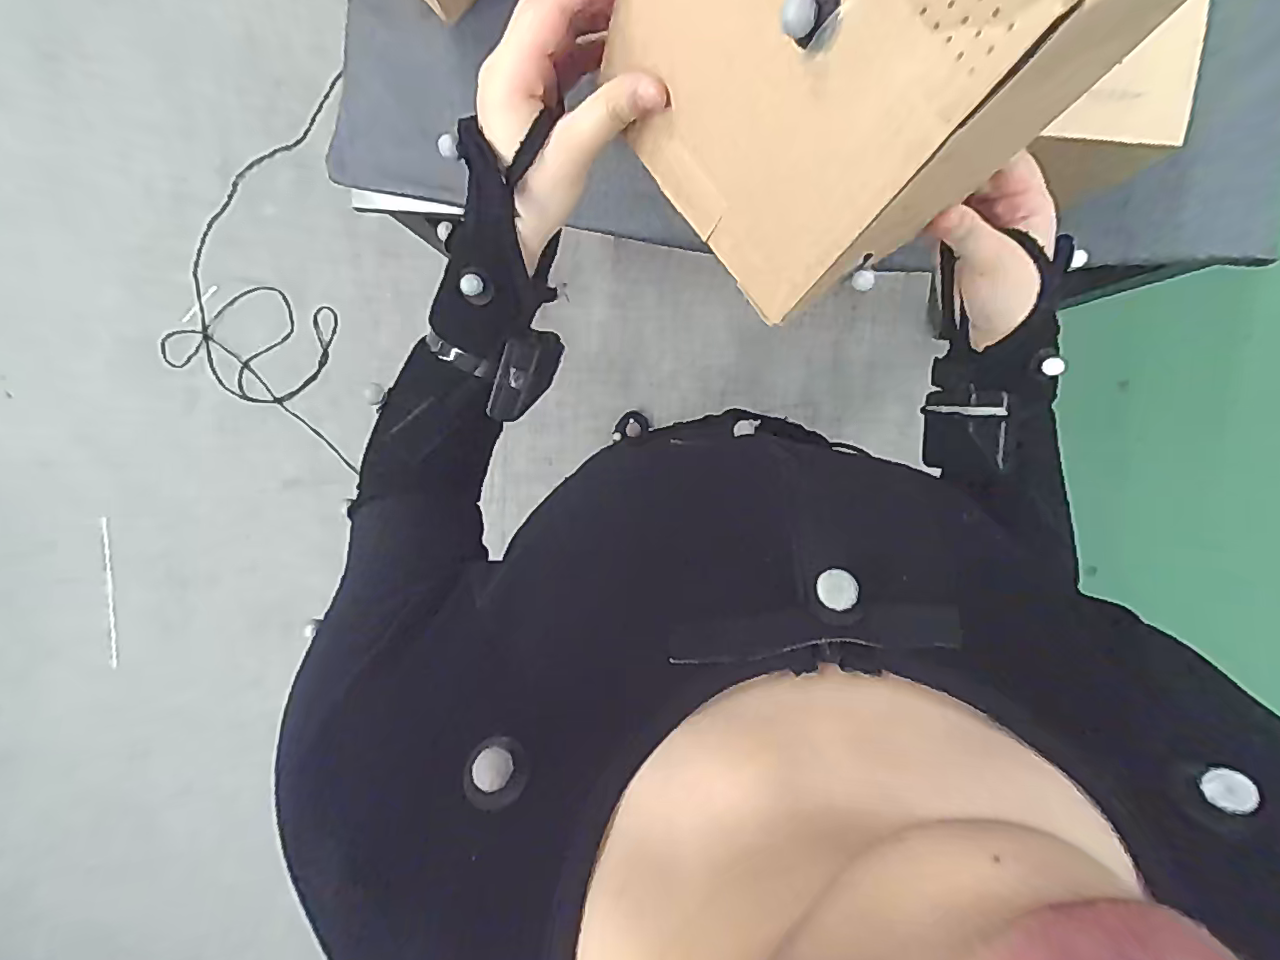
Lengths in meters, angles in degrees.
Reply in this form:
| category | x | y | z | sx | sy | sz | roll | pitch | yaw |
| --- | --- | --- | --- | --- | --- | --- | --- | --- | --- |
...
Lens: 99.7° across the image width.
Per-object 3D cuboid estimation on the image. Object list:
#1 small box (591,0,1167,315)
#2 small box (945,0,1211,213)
| category | x | y | z | sx | sy | sz | roll | pitch | yaw |
| --- | --- | --- | --- | --- | --- | --- | --- | --- | --- |
| small box | 0.107 | -0.218 | 0.252 | 0.179 | 0.176 | 0.168 | -35 | 87 | -22 |
| small box | 0.460 | -0.426 | 0.601 | 0.168 | 0.176 | 0.179 | 6 | 95 | 4 |
